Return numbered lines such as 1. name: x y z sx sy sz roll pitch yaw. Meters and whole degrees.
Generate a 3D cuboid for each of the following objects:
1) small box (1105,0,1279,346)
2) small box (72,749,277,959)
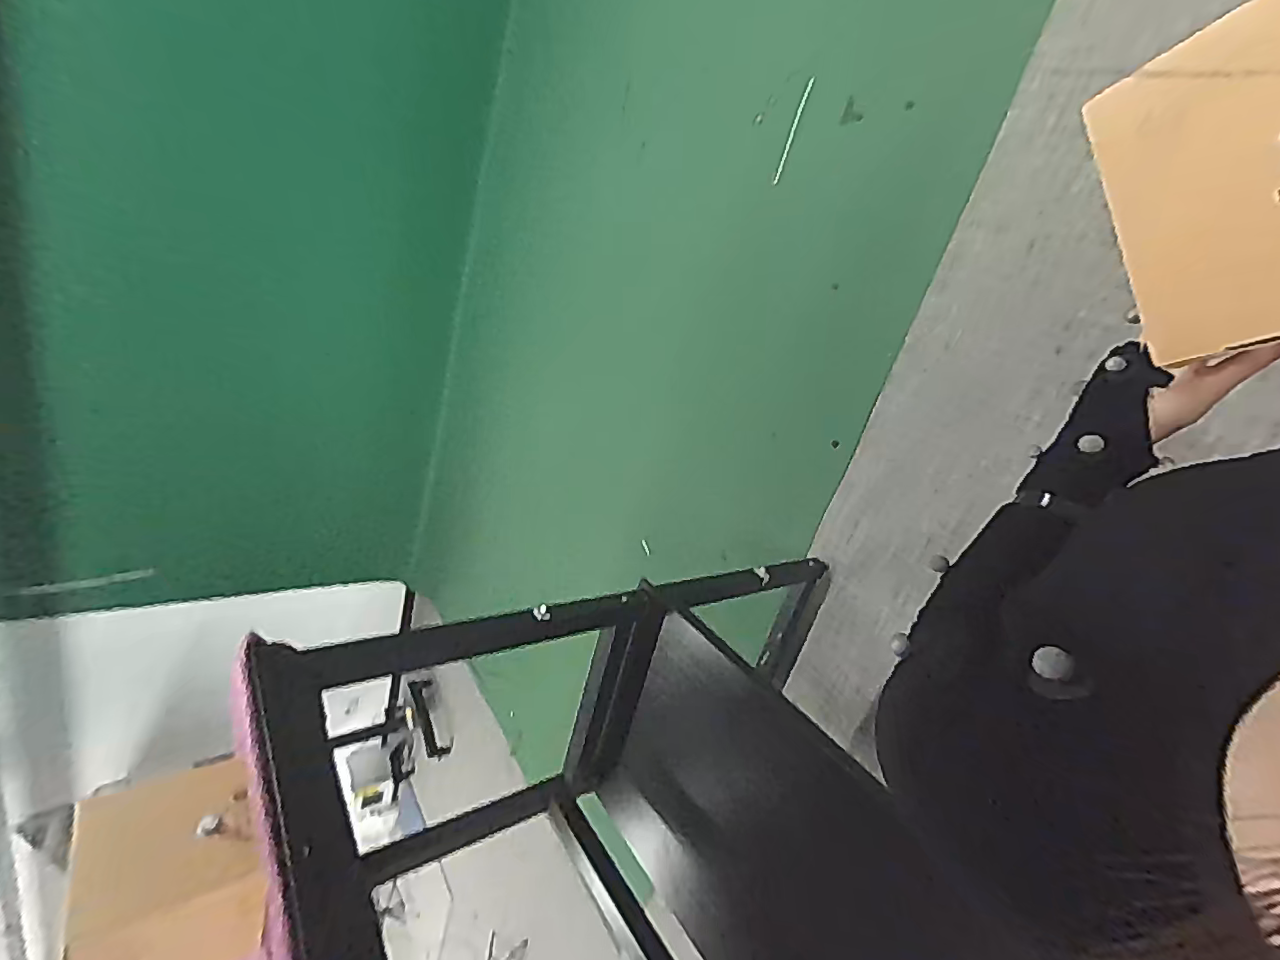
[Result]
1. small box: 0.409 -0.188 0.302 0.168 0.176 0.179 -16 88 59
2. small box: -0.549 0.468 0.654 0.168 0.176 0.179 41 119 41
